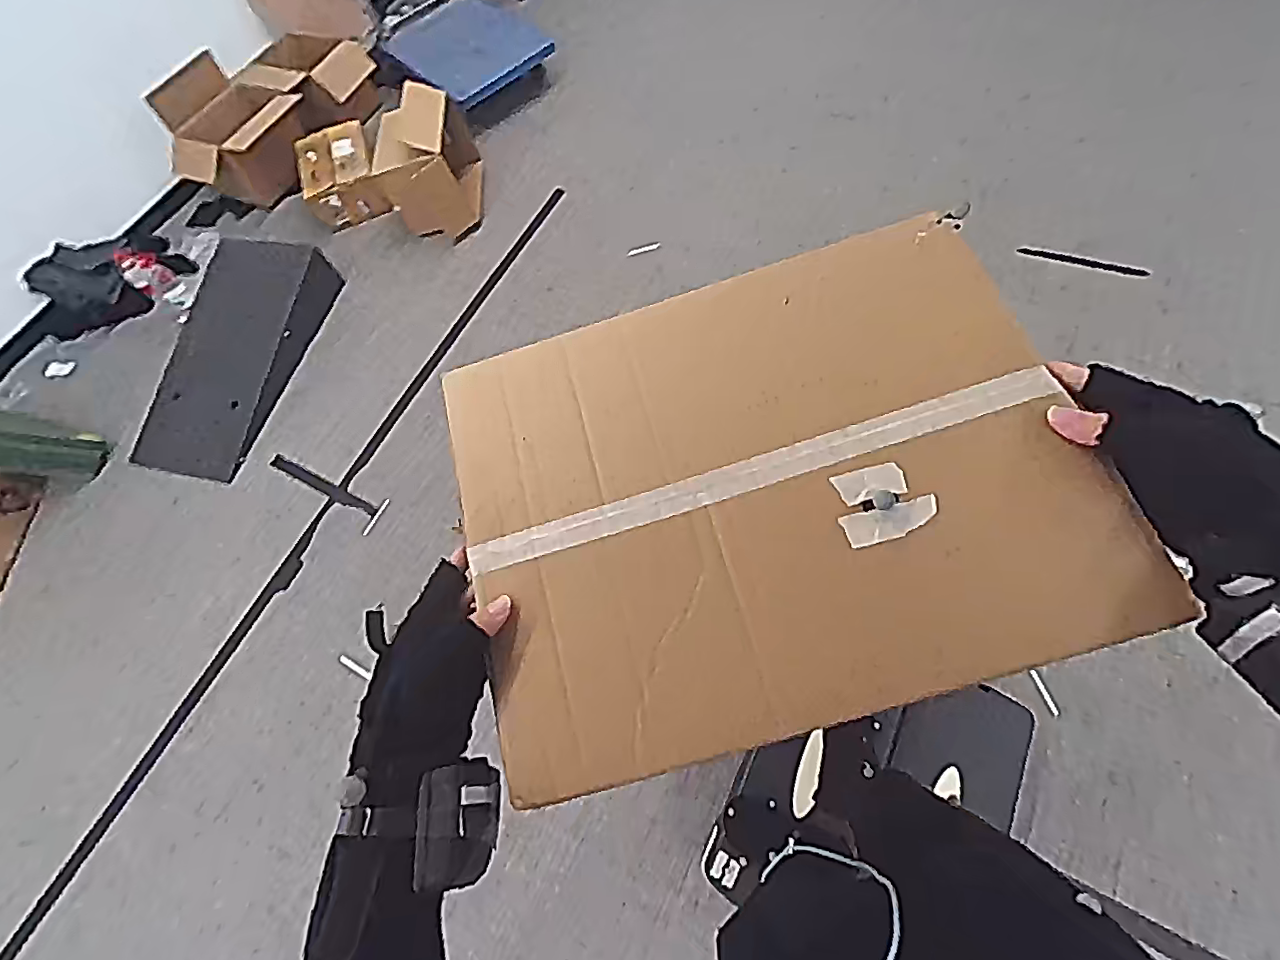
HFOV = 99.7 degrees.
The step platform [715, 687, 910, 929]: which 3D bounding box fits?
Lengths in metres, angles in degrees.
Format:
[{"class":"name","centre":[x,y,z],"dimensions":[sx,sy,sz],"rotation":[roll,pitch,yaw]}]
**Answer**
[{"class":"step platform","centre":[0.427,0.628,1.292],"dimensions":[0.286,0.204,0.684],"rotation":[21,69,18]}]

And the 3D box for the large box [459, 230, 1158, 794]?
[{"class":"large box","centre":[0.100,0.049,0.518],"dimensions":[0.408,0.320,0.320],"rotation":[-18,70,3]}]
